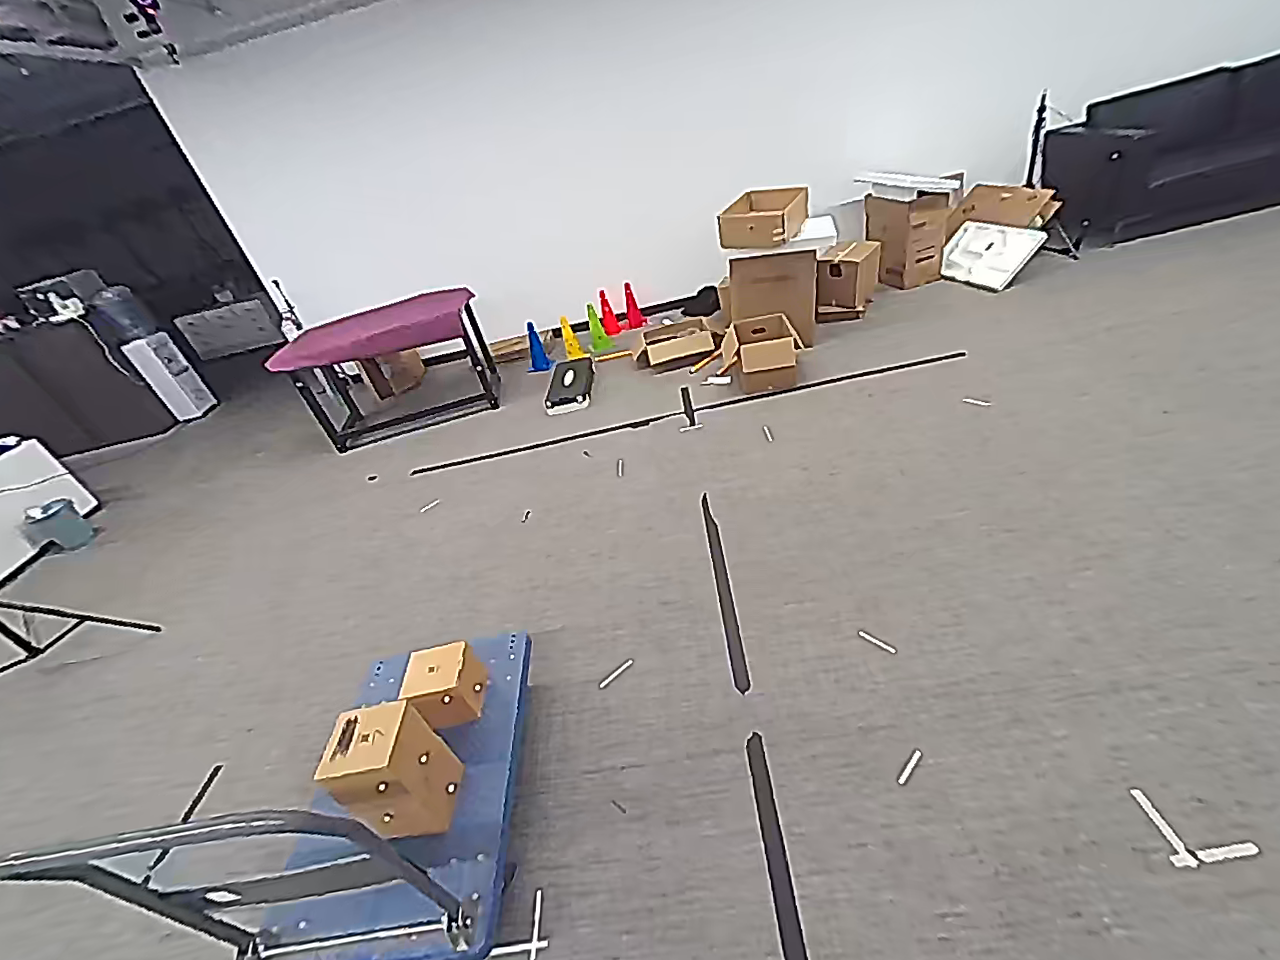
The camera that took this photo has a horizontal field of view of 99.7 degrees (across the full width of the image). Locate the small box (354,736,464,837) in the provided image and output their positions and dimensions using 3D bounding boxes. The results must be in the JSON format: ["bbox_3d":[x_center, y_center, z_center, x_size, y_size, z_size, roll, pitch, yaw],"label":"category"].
[{"bbox_3d":[-0.581,0.787,1.383,0.179,0.176,0.168,-10,35,7],"label":"small box"}]

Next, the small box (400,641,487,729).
[{"bbox_3d":[-0.584,0.620,1.627,0.179,0.176,0.168,-13,34,2],"label":"small box"}]
